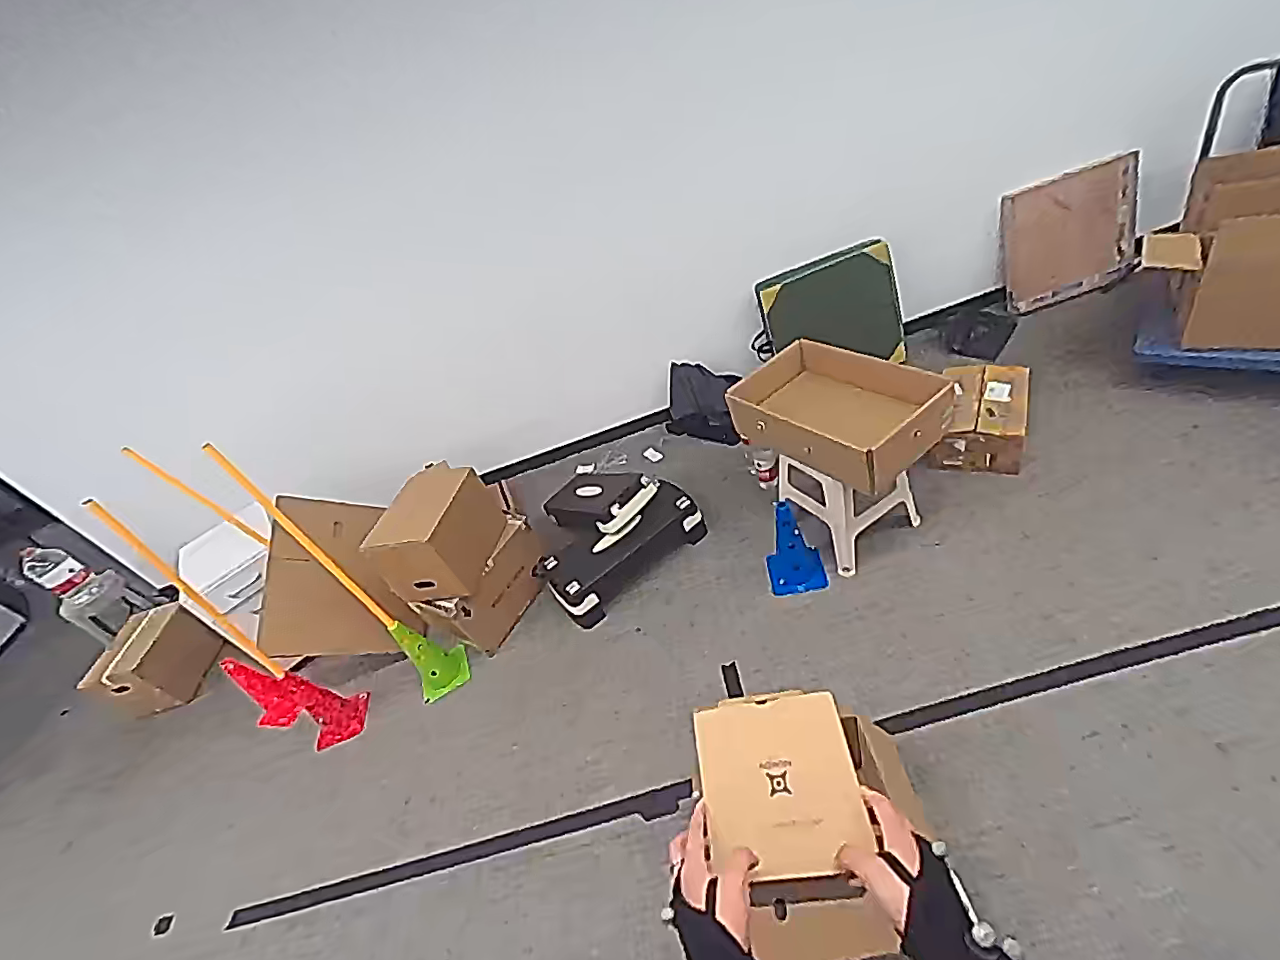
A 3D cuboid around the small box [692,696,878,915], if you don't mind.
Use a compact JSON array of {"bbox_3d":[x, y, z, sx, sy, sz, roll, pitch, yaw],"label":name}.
[{"bbox_3d":[0.158,0.383,0.637,0.168,0.176,0.179,-10,44,5],"label":"small box"}]
